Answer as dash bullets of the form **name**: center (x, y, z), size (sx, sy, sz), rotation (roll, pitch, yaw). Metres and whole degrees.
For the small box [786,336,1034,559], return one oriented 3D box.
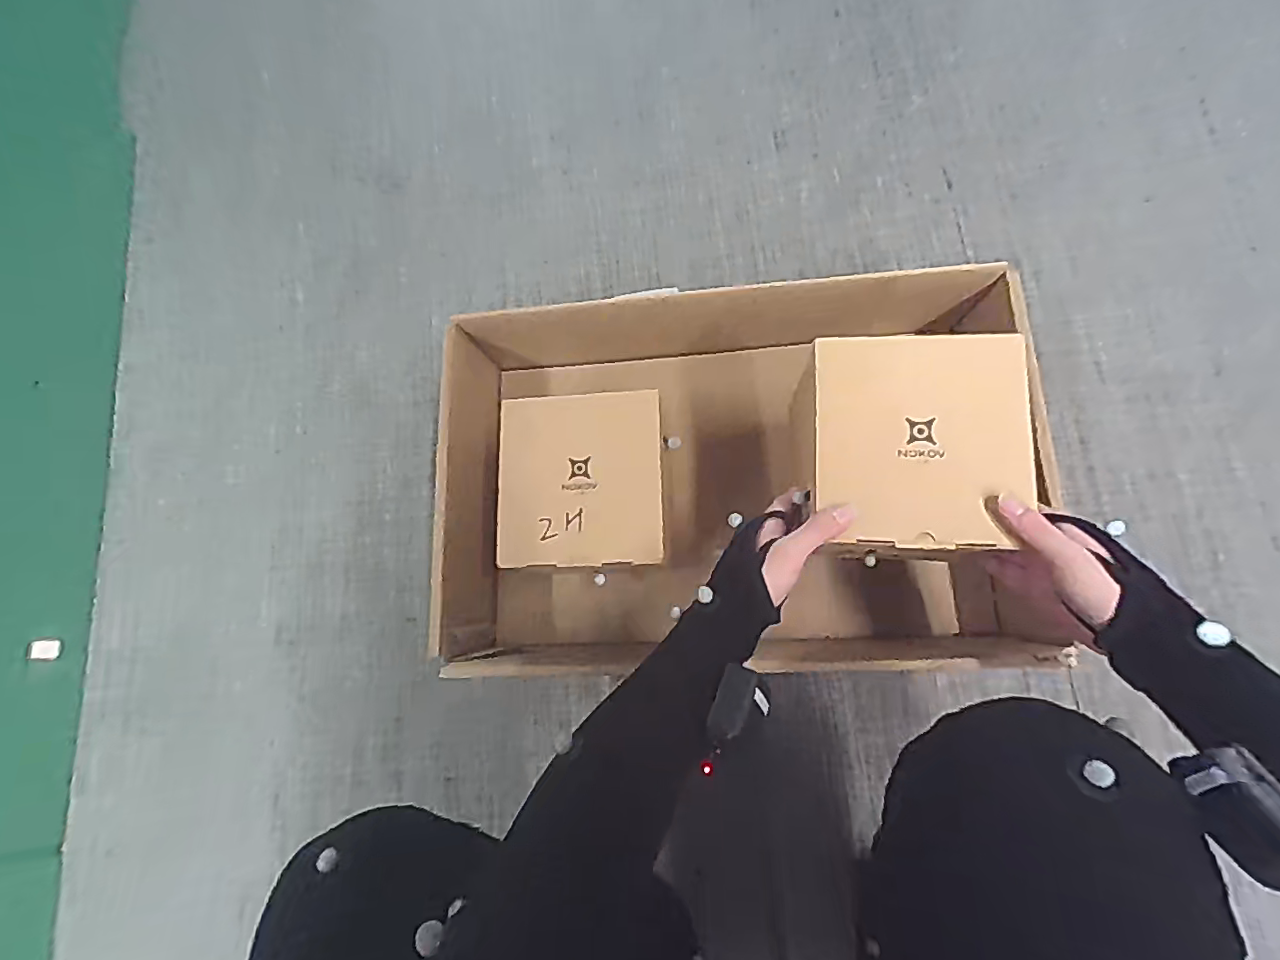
- **small box**: center (0.232, -0.019, 0.512), size (0.168, 0.176, 0.179), rotation (1, 81, 8)
